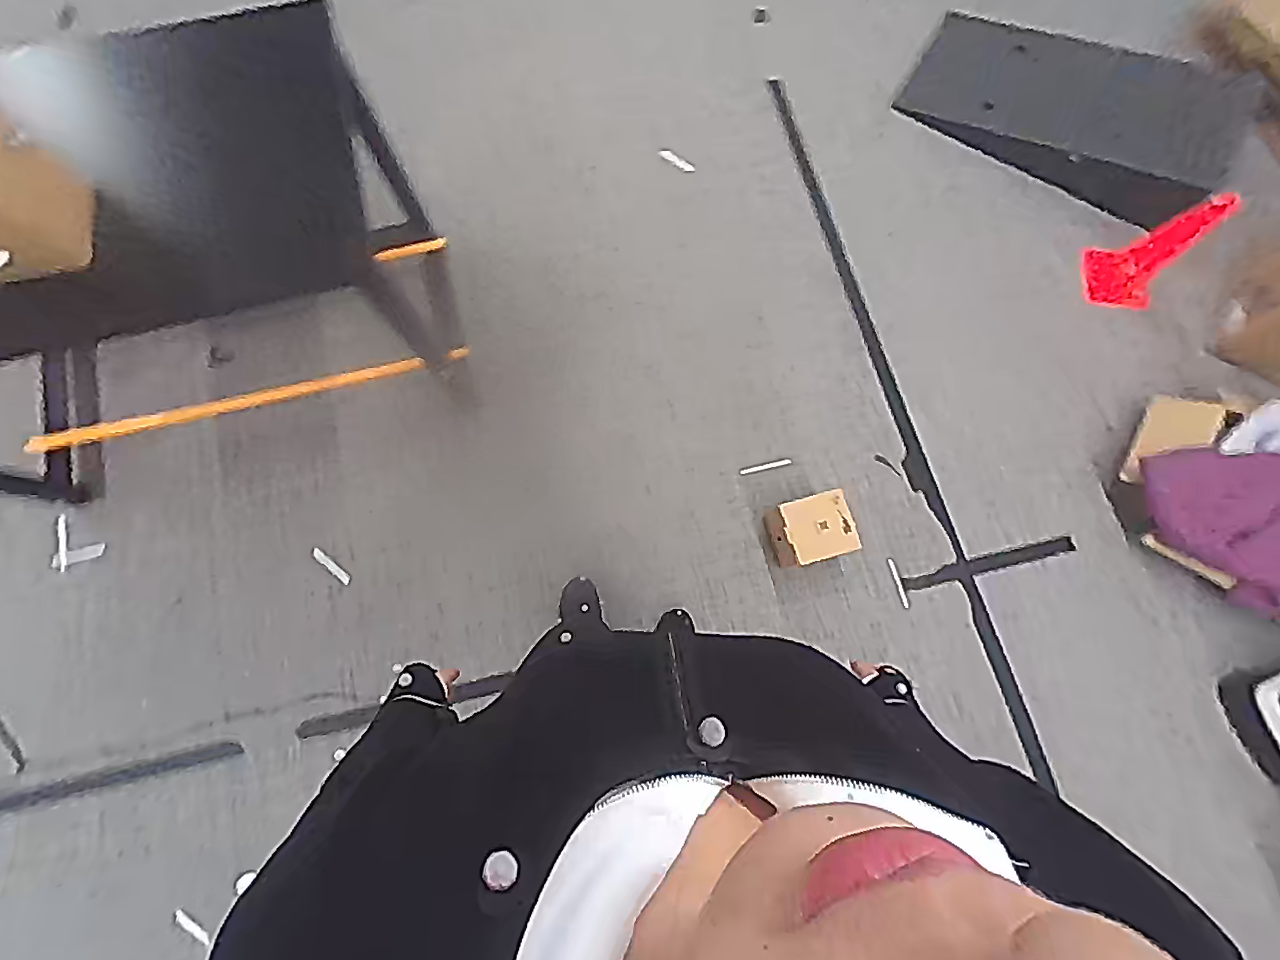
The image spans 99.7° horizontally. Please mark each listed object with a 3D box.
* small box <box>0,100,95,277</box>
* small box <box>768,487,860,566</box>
[{"bbox_3d":[-0.999,-0.443,0.830,0.168,0.176,0.179,-10,78,-3],"label":"small box"},{"bbox_3d":[0.462,0.133,1.475,0.179,0.176,0.168,-15,78,-4],"label":"small box"}]
